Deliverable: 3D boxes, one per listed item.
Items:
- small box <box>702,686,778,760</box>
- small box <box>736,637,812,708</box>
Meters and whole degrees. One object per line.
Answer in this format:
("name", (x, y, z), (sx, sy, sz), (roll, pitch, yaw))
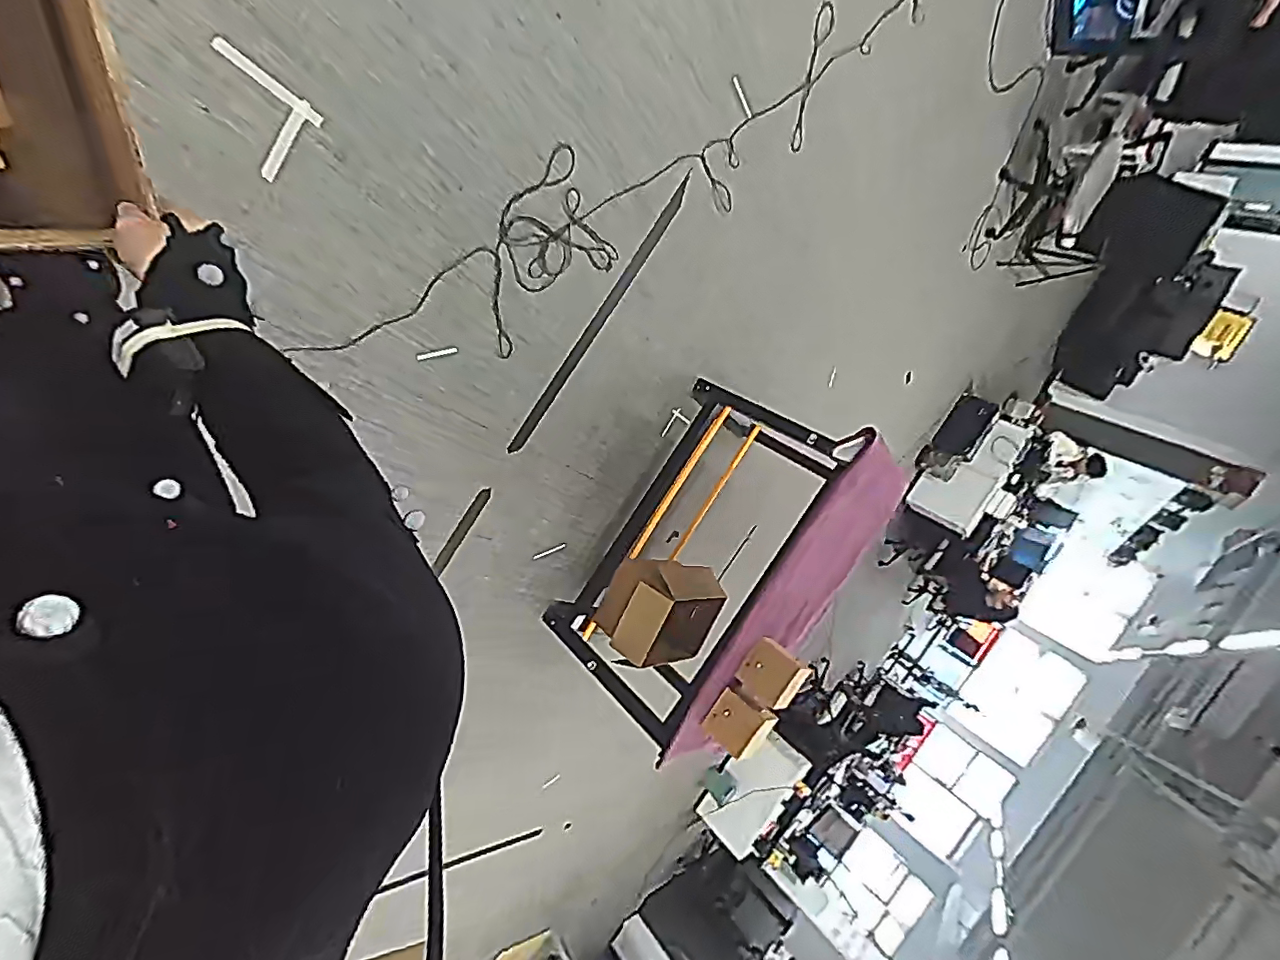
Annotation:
("small box", (0.349, 0.841, 1.883), (0.168, 0.176, 0.179), (-55, 145, -1))
("small box", (0.465, 0.665, 1.874), (0.168, 0.176, 0.179), (-55, 144, 0))
